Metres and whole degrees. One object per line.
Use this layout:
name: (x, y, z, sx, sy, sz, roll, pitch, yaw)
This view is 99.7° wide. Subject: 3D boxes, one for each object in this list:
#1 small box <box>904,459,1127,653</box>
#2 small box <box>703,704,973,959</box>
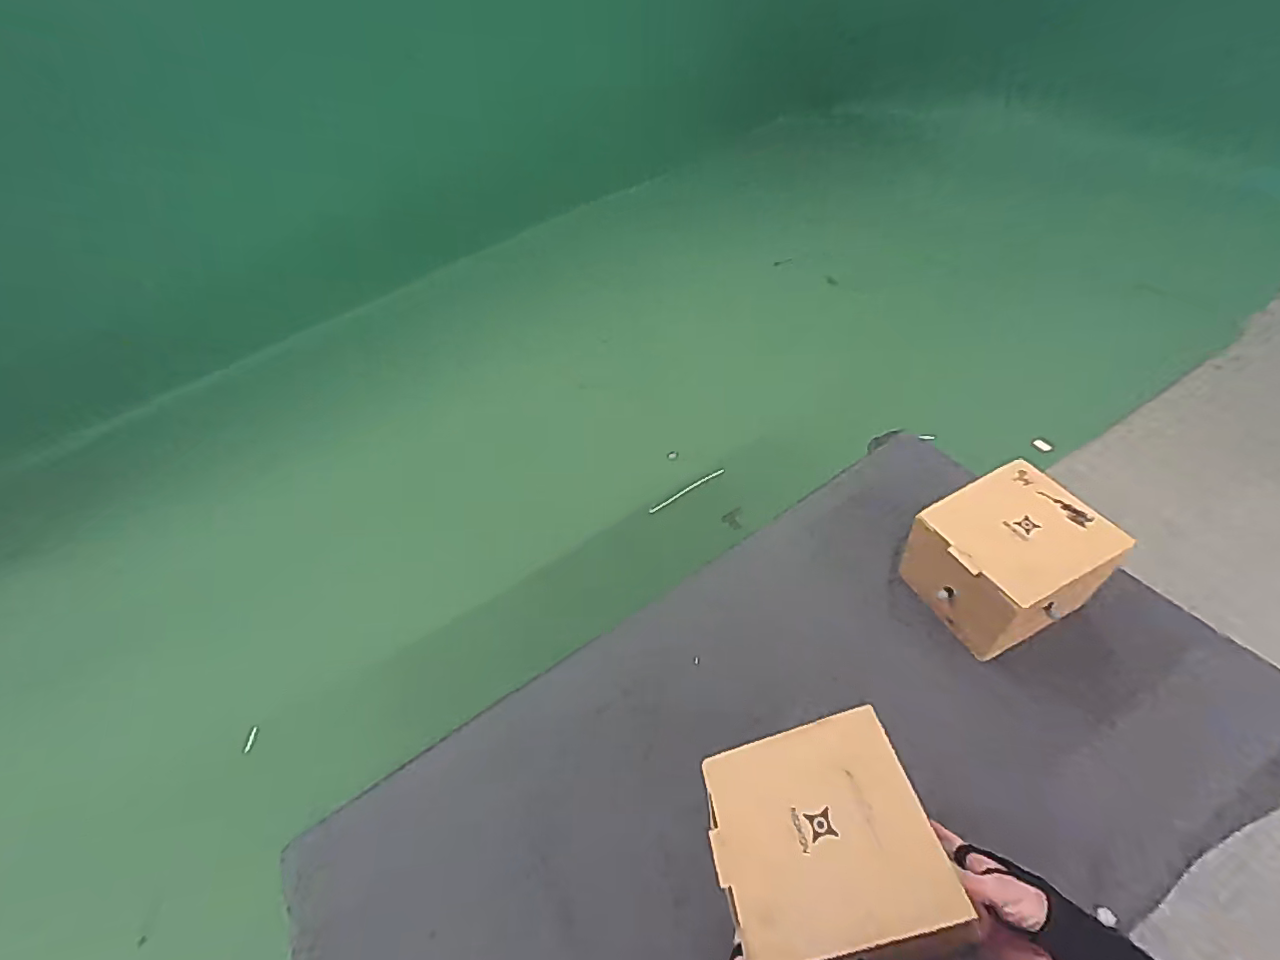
small box: (0.492, 0.109, 0.746, 0.179, 0.176, 0.168, -26, 50, -6)
small box: (0.180, 0.347, 0.509, 0.179, 0.176, 0.168, -22, 40, 7)
